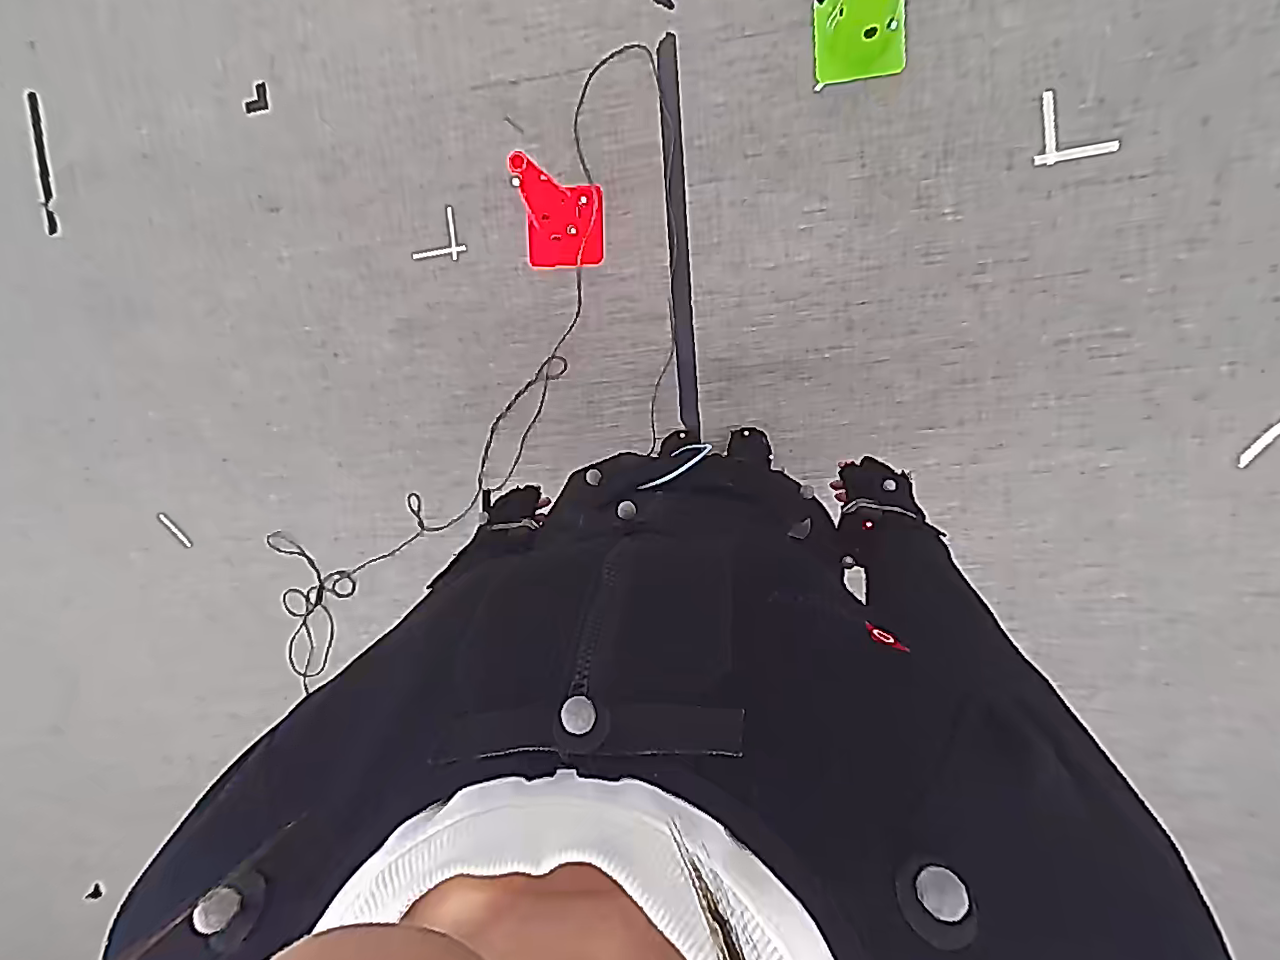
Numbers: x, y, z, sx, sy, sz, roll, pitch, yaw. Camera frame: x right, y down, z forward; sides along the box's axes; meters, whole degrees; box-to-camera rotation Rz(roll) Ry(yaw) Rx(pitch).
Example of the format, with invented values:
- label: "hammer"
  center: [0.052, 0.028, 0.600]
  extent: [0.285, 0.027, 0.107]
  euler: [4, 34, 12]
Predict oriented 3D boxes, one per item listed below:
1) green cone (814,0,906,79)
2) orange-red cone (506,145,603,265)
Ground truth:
- label: "green cone"
  center: [0.487, -1.024, 1.079]
  extent: [0.202, 0.368, 0.200]
  euler: [-4, 96, 7]
- label: "orange-red cone"
  center: [-0.219, -0.644, 1.222]
  extent: [0.199, 0.360, 0.198]
  euler: [1, 95, 9]
